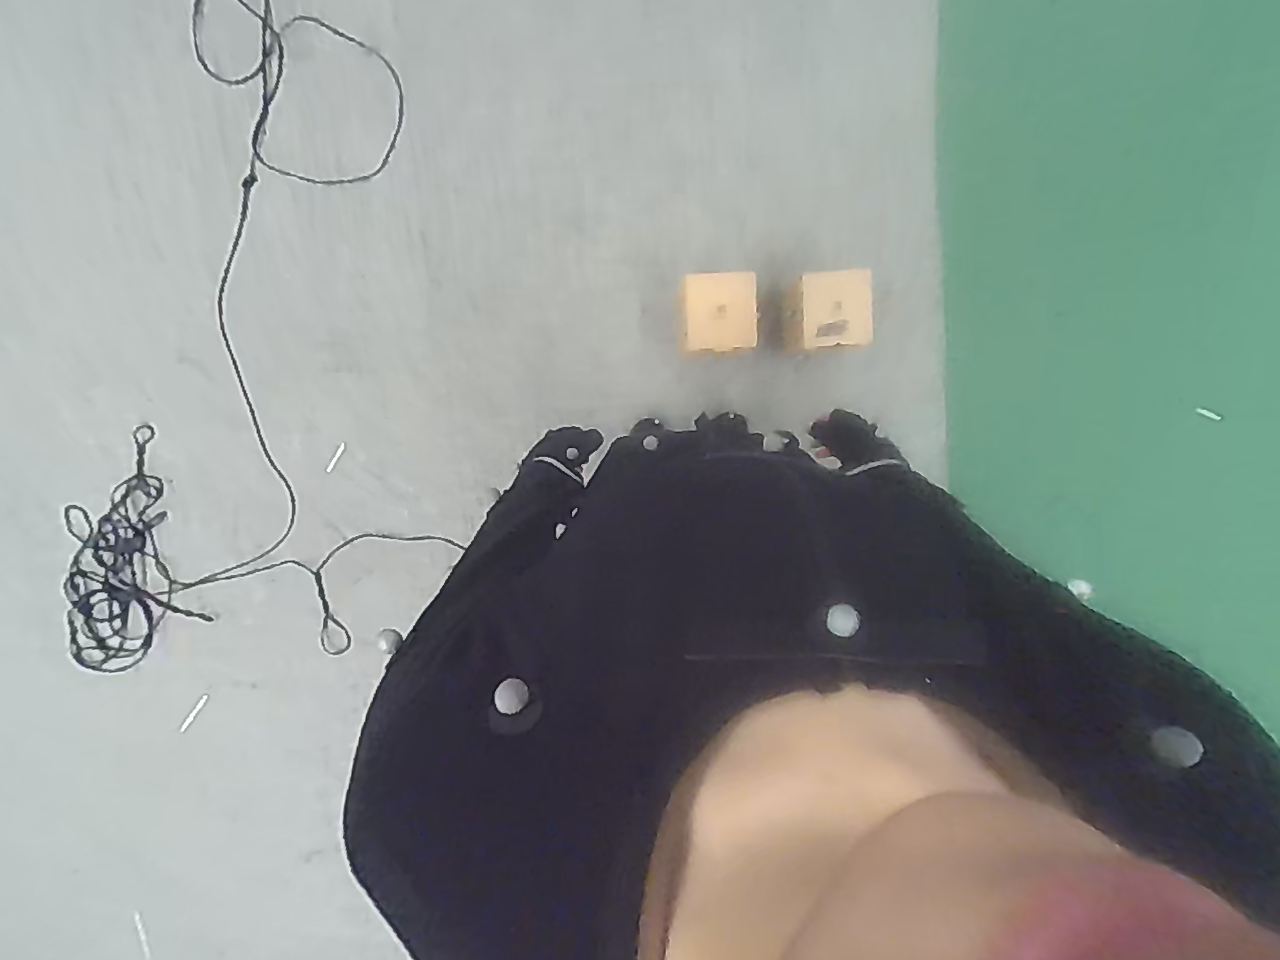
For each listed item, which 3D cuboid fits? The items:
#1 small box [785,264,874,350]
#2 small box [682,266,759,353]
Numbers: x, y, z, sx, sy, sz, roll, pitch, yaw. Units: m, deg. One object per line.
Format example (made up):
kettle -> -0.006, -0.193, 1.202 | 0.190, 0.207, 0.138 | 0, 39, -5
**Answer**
small box -> 0.462, -0.419, 1.337 | 0.168, 0.176, 0.179 | -4, 97, 1
small box -> 0.193, -0.415, 1.339 | 0.168, 0.176, 0.179 | -3, 98, 0
